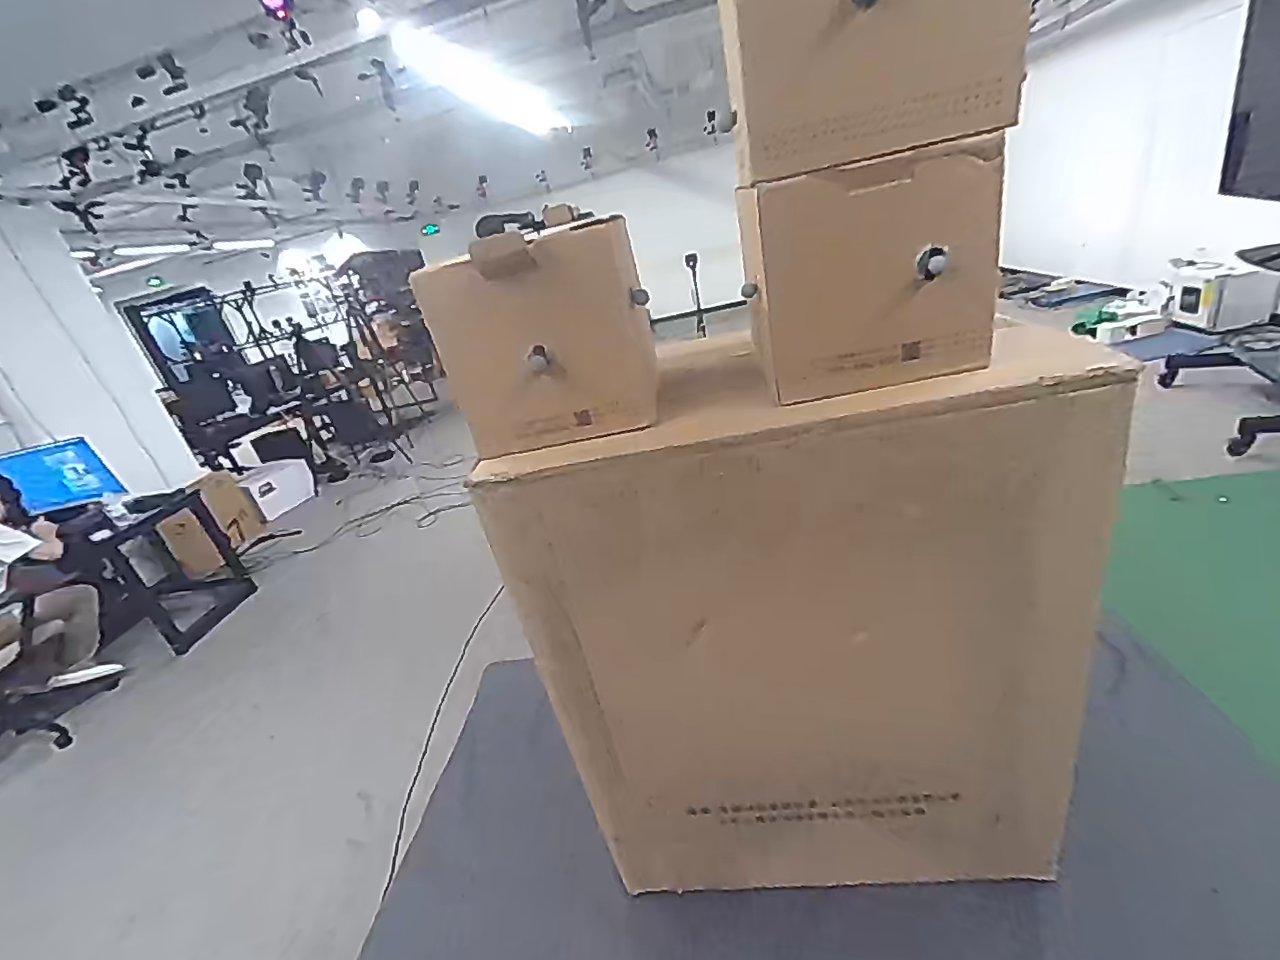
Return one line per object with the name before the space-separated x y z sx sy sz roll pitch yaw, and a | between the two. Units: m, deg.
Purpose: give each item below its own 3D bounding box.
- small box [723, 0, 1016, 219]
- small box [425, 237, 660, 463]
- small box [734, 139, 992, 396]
small box | 0.160 -0.311 0.416 0.179 0.176 0.168 -7 26 12
small box | -0.077 -0.127 0.539 0.168 0.176 0.179 -12 26 7
small box | 0.181 -0.181 0.482 0.168 0.176 0.179 -8 26 8
